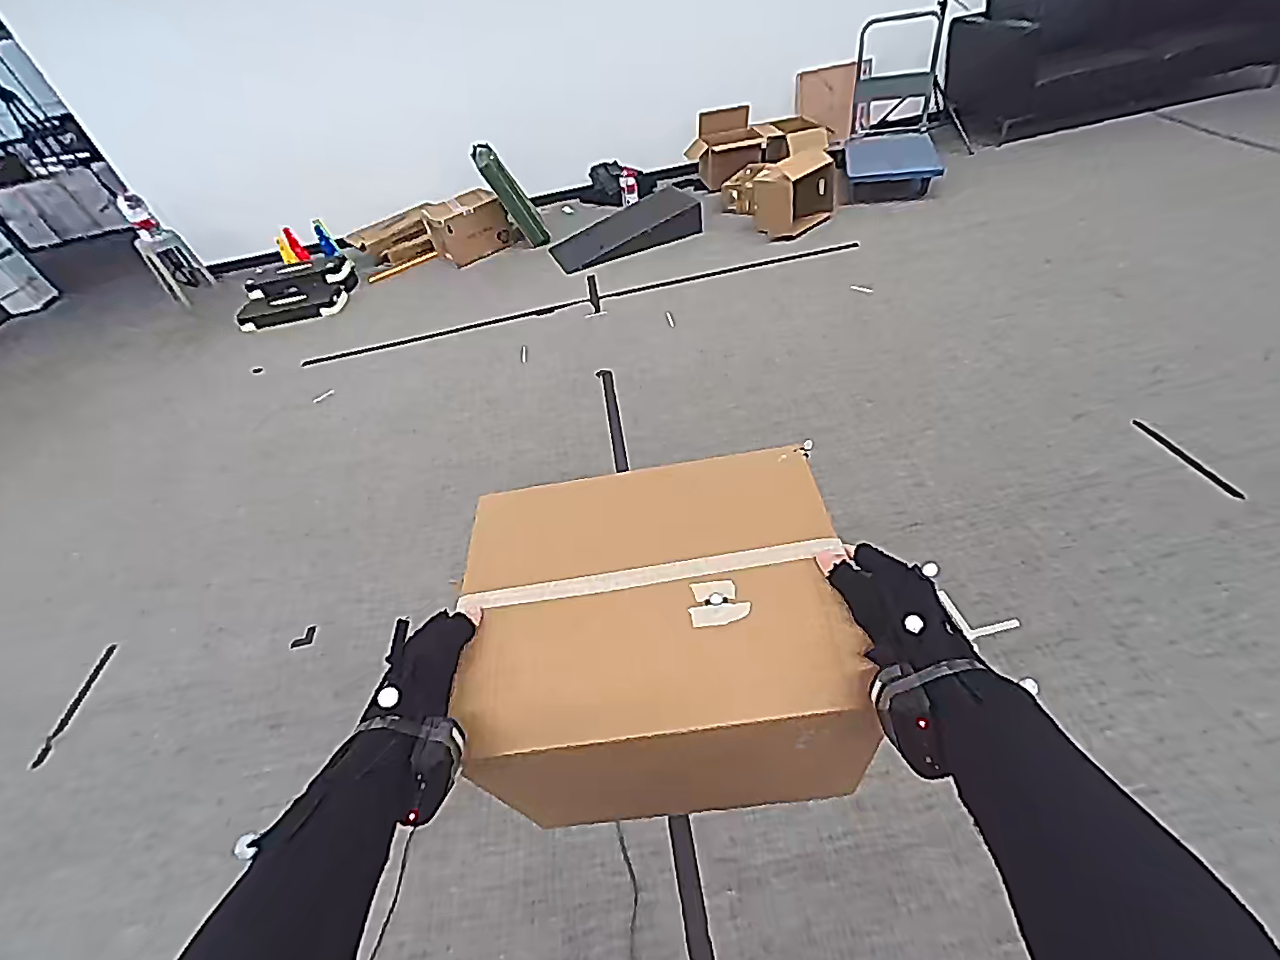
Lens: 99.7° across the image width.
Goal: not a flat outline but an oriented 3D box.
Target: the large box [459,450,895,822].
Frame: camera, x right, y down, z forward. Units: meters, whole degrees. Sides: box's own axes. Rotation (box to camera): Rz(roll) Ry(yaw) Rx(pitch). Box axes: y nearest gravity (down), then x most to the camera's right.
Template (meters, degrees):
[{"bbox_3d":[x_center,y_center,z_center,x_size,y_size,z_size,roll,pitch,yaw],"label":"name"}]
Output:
[{"bbox_3d":[0.037,0.204,0.687,0.408,0.320,0.320,-9,48,3],"label":"large box"}]
